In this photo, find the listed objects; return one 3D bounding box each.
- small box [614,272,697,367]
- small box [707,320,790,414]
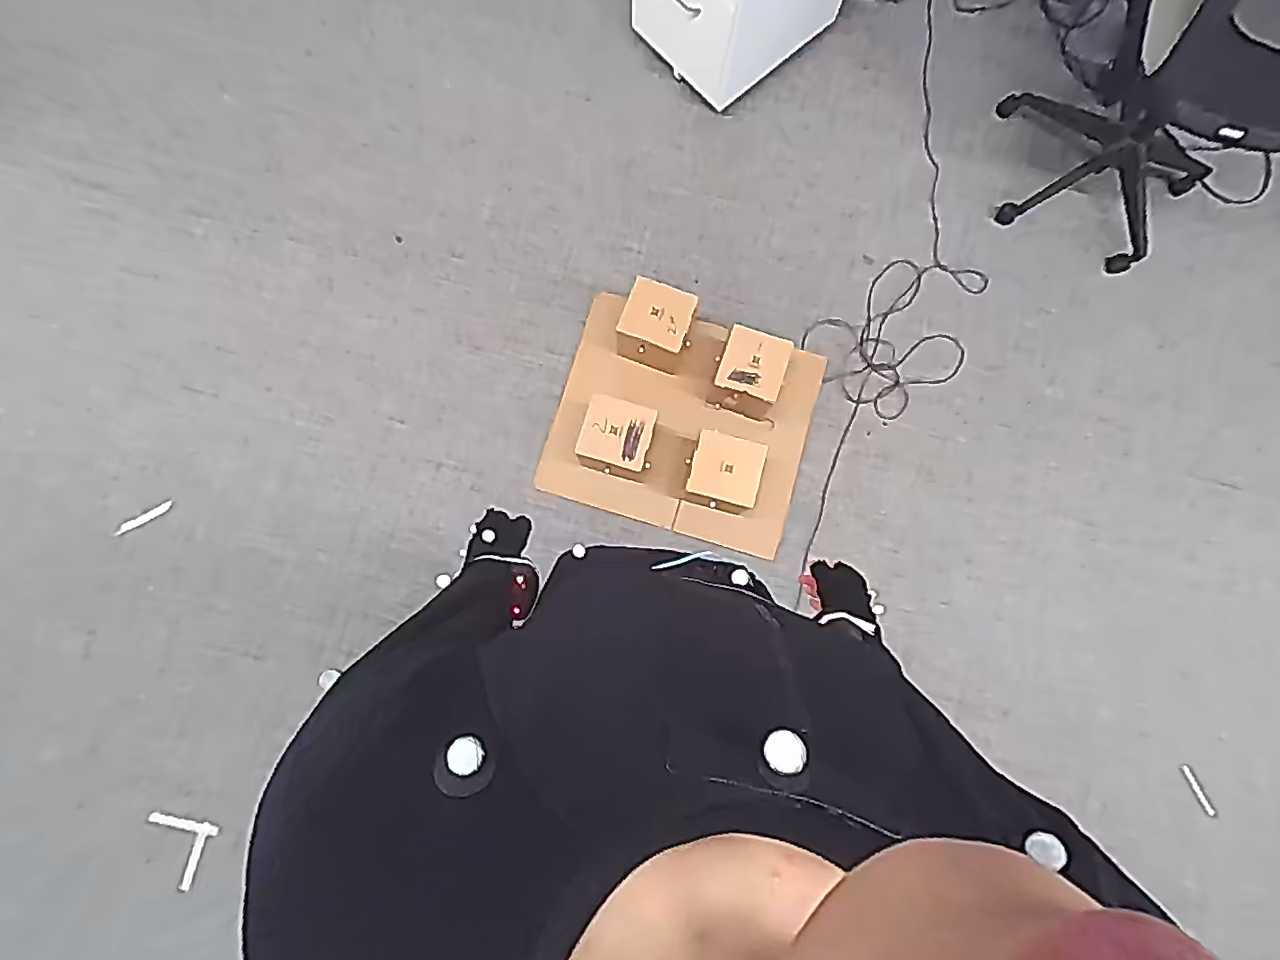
[{"bbox_3d":[0.040,-0.430,1.484,0.179,0.176,0.168,22,83,2],"label":"small box"},{"bbox_3d":[0.288,-0.299,1.475,0.168,0.176,0.179,20,81,3],"label":"small box"}]
